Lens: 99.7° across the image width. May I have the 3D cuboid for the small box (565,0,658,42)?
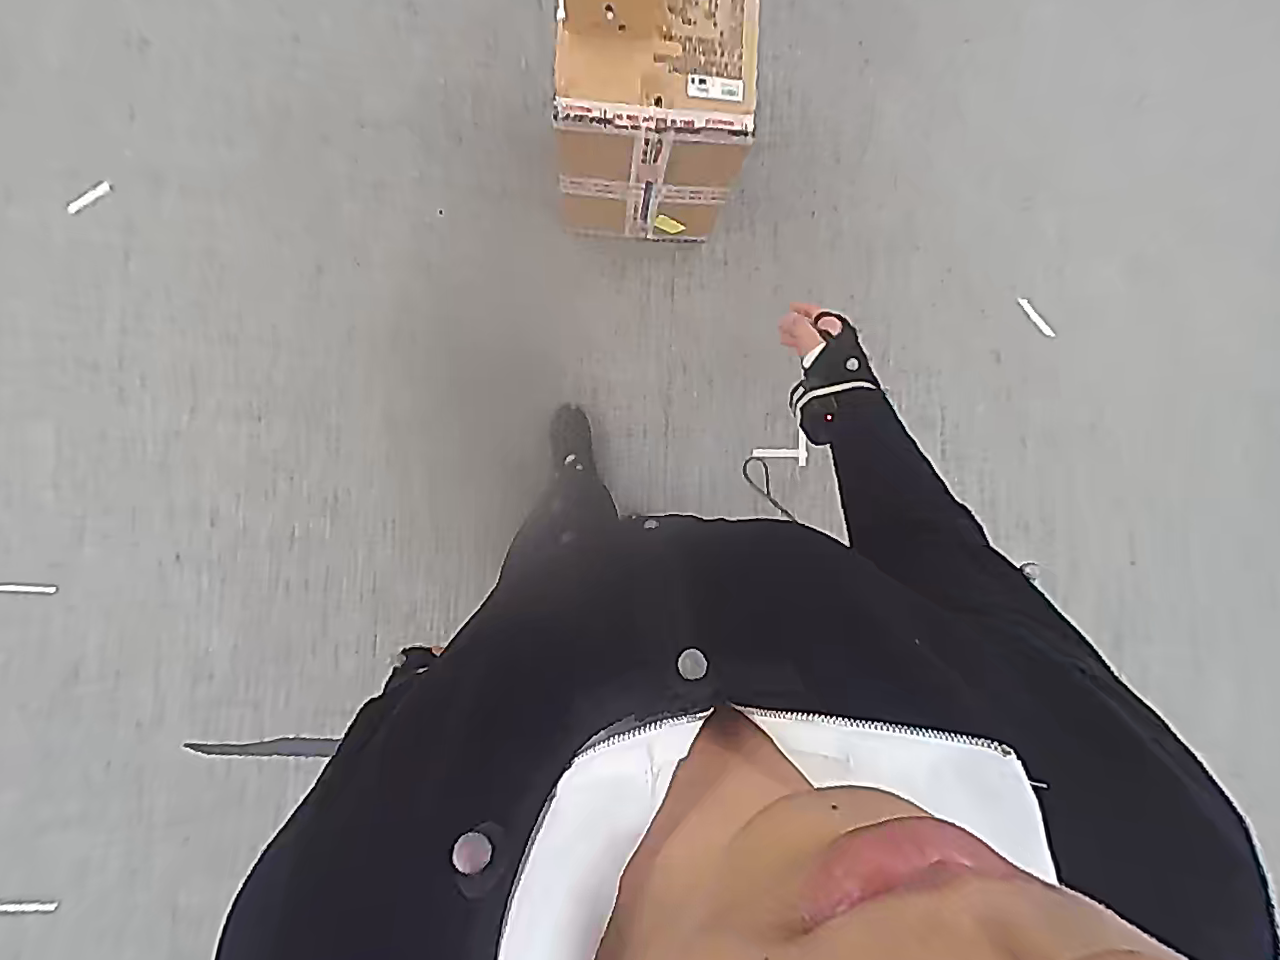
[{"bbox_3d":[-0.047,-0.916,0.934,0.168,0.176,0.179,2,92,-3],"label":"small box"}]
